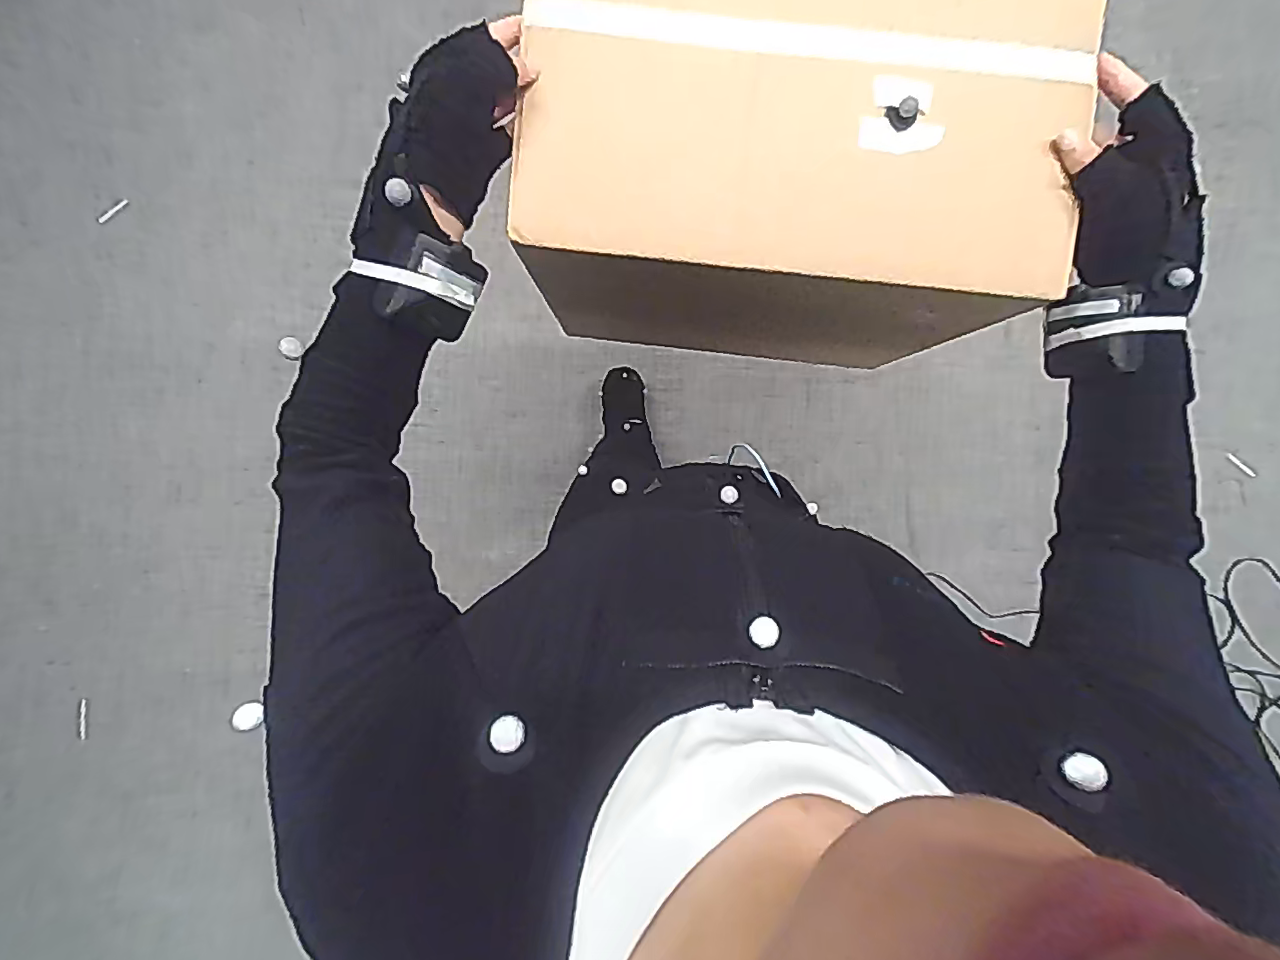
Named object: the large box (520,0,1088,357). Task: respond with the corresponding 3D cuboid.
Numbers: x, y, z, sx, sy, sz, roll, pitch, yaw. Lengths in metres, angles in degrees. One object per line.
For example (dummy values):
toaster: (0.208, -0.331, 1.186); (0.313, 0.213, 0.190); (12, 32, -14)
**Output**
large box: (0.118, -0.318, 0.542); (0.408, 0.320, 0.320); (6, 93, 0)
